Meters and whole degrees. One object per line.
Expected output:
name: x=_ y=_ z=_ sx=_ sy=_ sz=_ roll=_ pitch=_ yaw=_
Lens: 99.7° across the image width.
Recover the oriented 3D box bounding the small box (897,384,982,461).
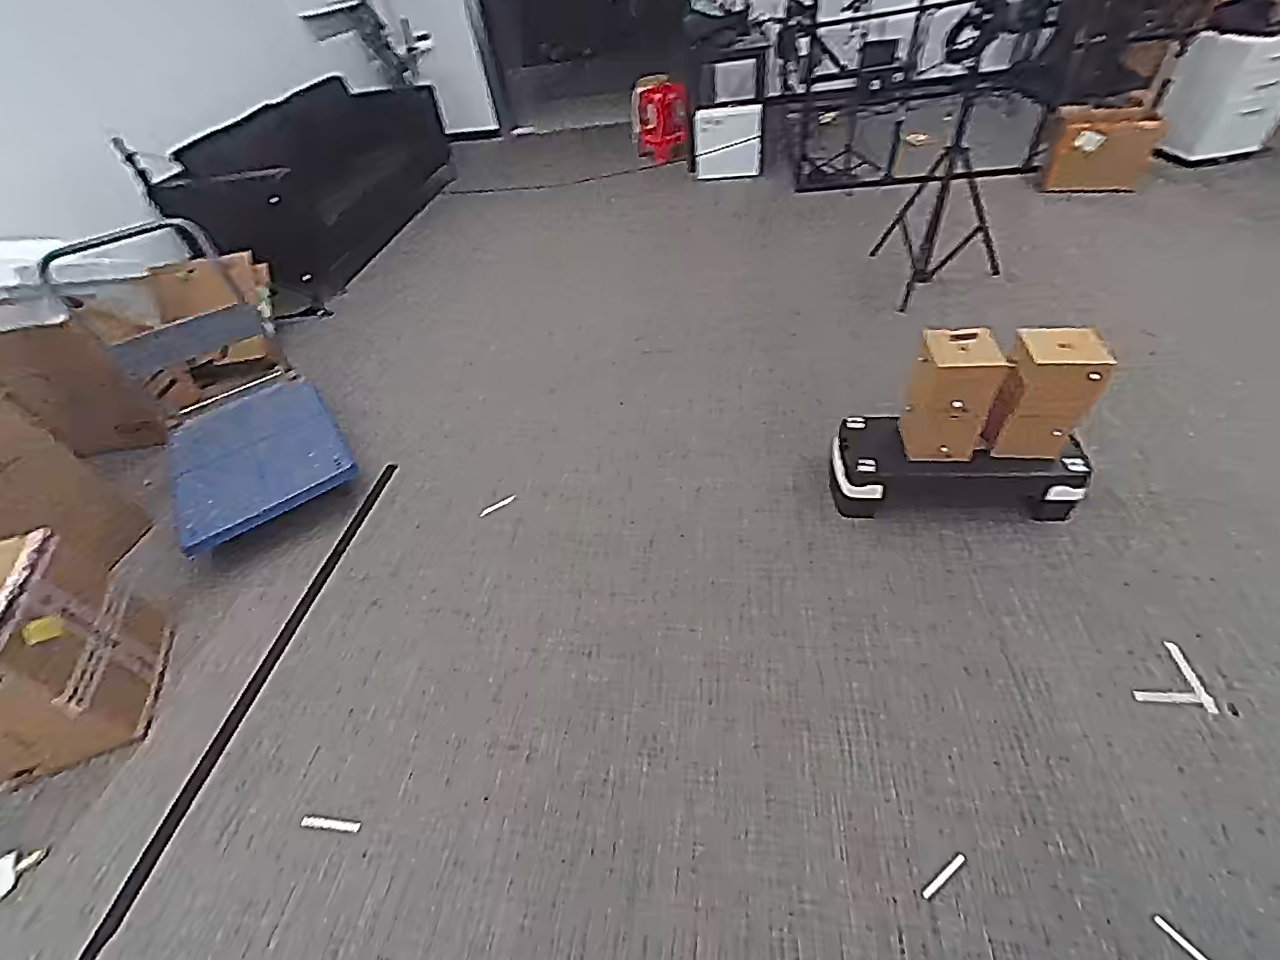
small box: x=0.877 y=-0.173 z=1.602 sx=0.168 sy=0.176 sz=0.179 roll=1 pitch=46 yaw=11

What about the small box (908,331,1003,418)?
small box: x=0.855 y=-0.290 z=1.489 sx=0.168 sy=0.176 sz=0.179 roll=1 pitch=46 yaw=11

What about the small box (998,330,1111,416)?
small box: x=1.089 y=-0.284 z=1.444 sx=0.179 sy=0.176 sz=0.168 roll=2 pitch=46 yaw=11

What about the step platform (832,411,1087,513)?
step platform: x=0.983 y=-0.065 z=1.722 sx=0.684 sy=0.204 sz=0.286 roll=-1 pitch=45 yaw=10
